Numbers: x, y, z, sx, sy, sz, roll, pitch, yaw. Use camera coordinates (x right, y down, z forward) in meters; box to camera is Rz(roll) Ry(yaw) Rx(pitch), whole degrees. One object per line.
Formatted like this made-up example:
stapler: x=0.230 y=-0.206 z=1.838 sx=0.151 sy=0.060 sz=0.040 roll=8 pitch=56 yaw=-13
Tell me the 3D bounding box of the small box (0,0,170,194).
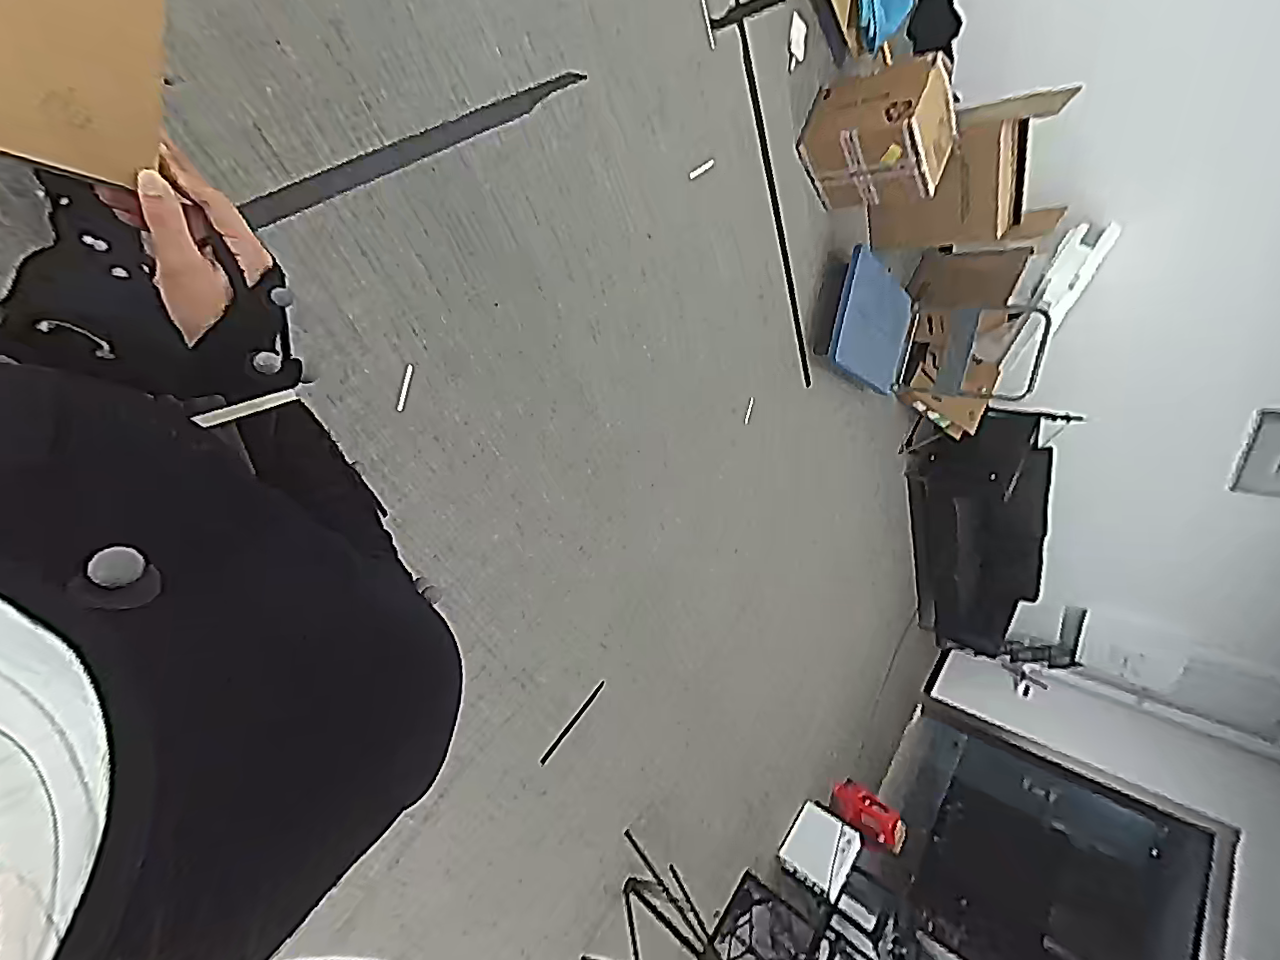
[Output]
small box: x=-0.380 y=-0.282 z=0.292 sx=0.168 sy=0.176 sz=0.179 roll=0 pitch=112 yaw=-50
